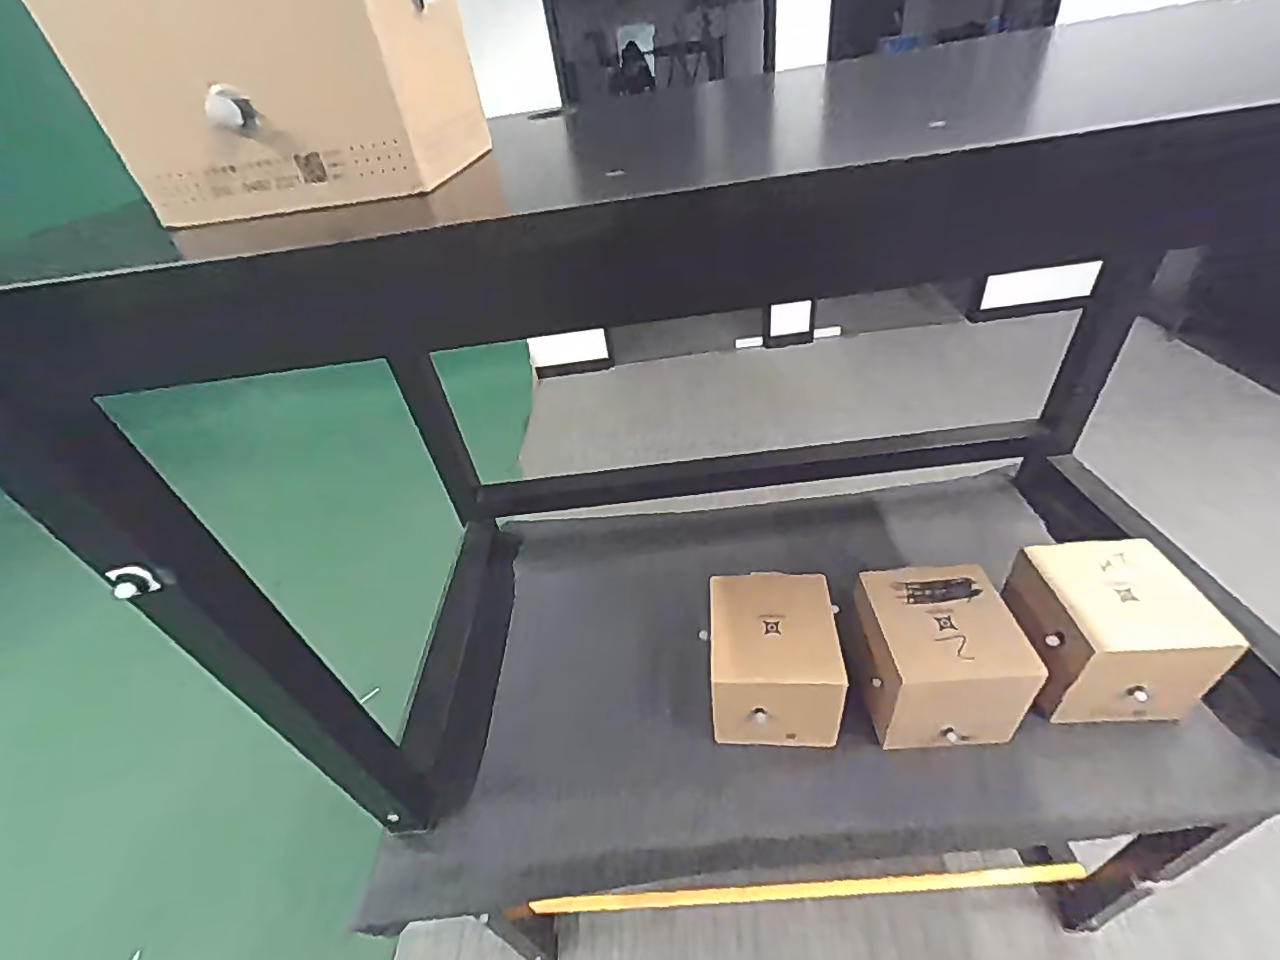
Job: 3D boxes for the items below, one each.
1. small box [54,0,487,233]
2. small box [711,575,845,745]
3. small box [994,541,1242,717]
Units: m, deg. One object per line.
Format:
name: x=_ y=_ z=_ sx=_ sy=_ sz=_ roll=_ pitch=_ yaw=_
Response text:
small box: x=-0.209 y=-0.268 z=0.336 sx=0.168 sy=0.176 sz=0.179 roll=-6 pitch=39 yaw=5
small box: x=0.189 y=0.259 z=0.776 sx=0.168 sy=0.176 sz=0.179 roll=-2 pitch=38 yaw=9
small box: x=0.627 y=0.207 z=0.741 sx=0.168 sy=0.176 sz=0.179 roll=-5 pitch=38 yaw=6
